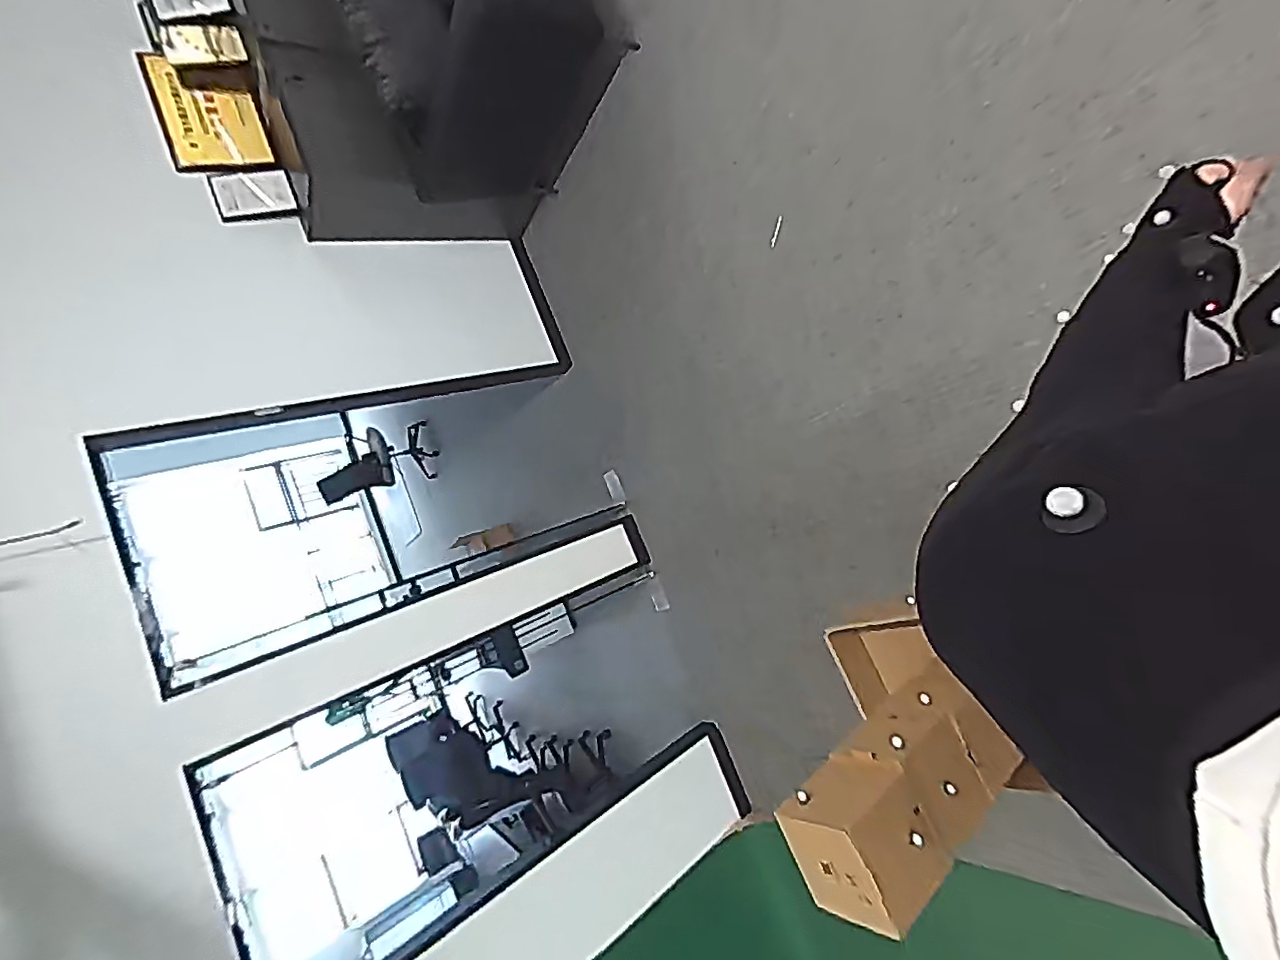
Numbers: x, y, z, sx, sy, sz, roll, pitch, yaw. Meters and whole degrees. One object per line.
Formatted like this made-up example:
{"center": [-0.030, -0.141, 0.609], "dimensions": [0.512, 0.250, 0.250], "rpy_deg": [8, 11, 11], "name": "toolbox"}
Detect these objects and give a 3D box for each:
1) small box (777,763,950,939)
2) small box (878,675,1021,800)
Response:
{"center": [0.376, 0.607, 0.916], "dimensions": [0.179, 0.176, 0.168], "rpy_deg": [-37, 75, 55], "name": "small box"}
{"center": [0.632, 0.510, 1.098], "dimensions": [0.179, 0.176, 0.168], "rpy_deg": [-35, 76, 56], "name": "small box"}
